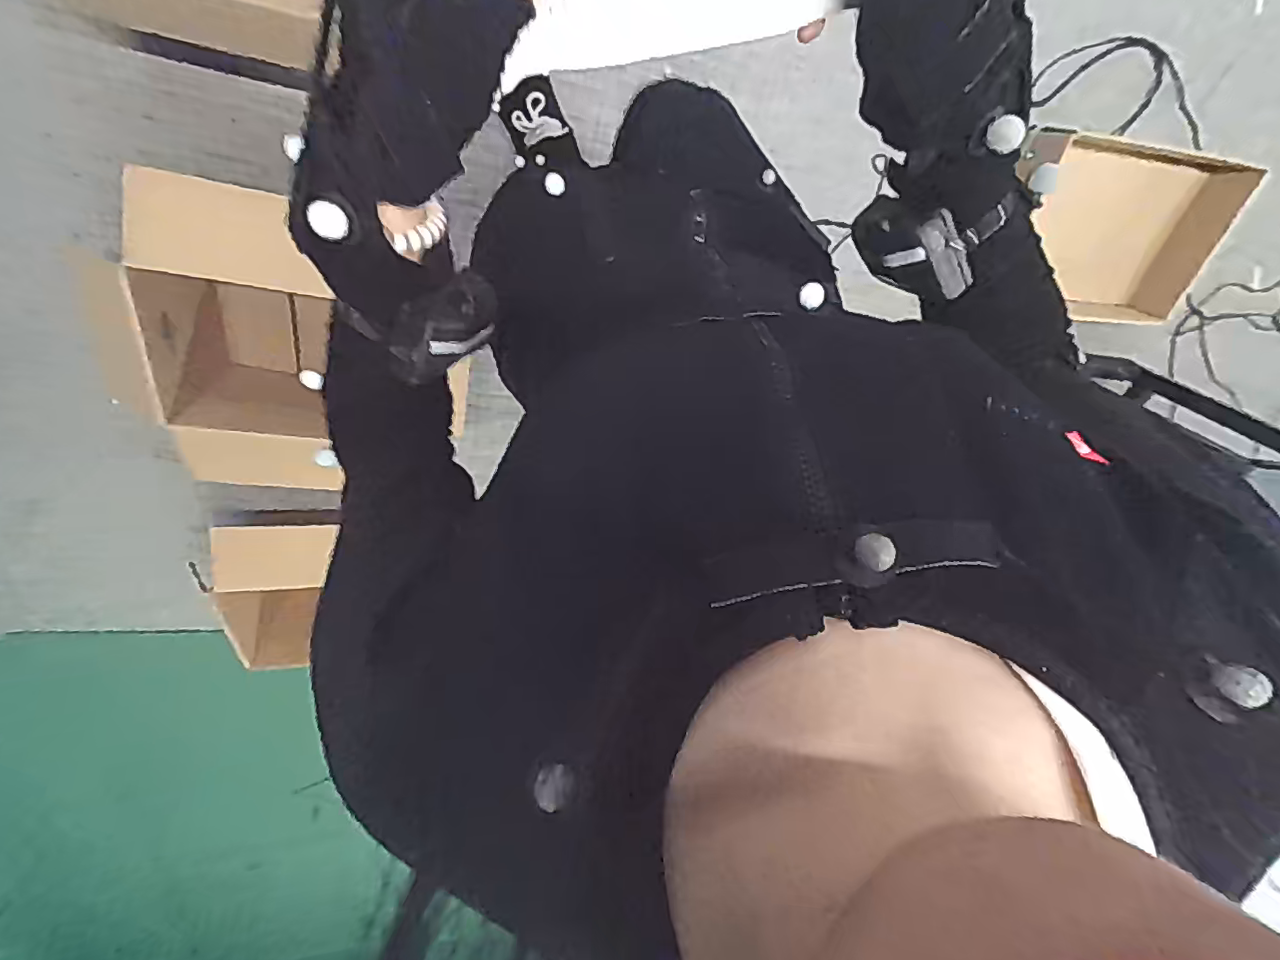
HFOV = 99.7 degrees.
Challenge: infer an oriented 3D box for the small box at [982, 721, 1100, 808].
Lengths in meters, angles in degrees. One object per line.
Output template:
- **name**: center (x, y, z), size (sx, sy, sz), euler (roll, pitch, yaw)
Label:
- **small box**: center (1.153, 0.818, 1.566), size (0.179, 0.176, 0.168), euler (7, 123, -18)
